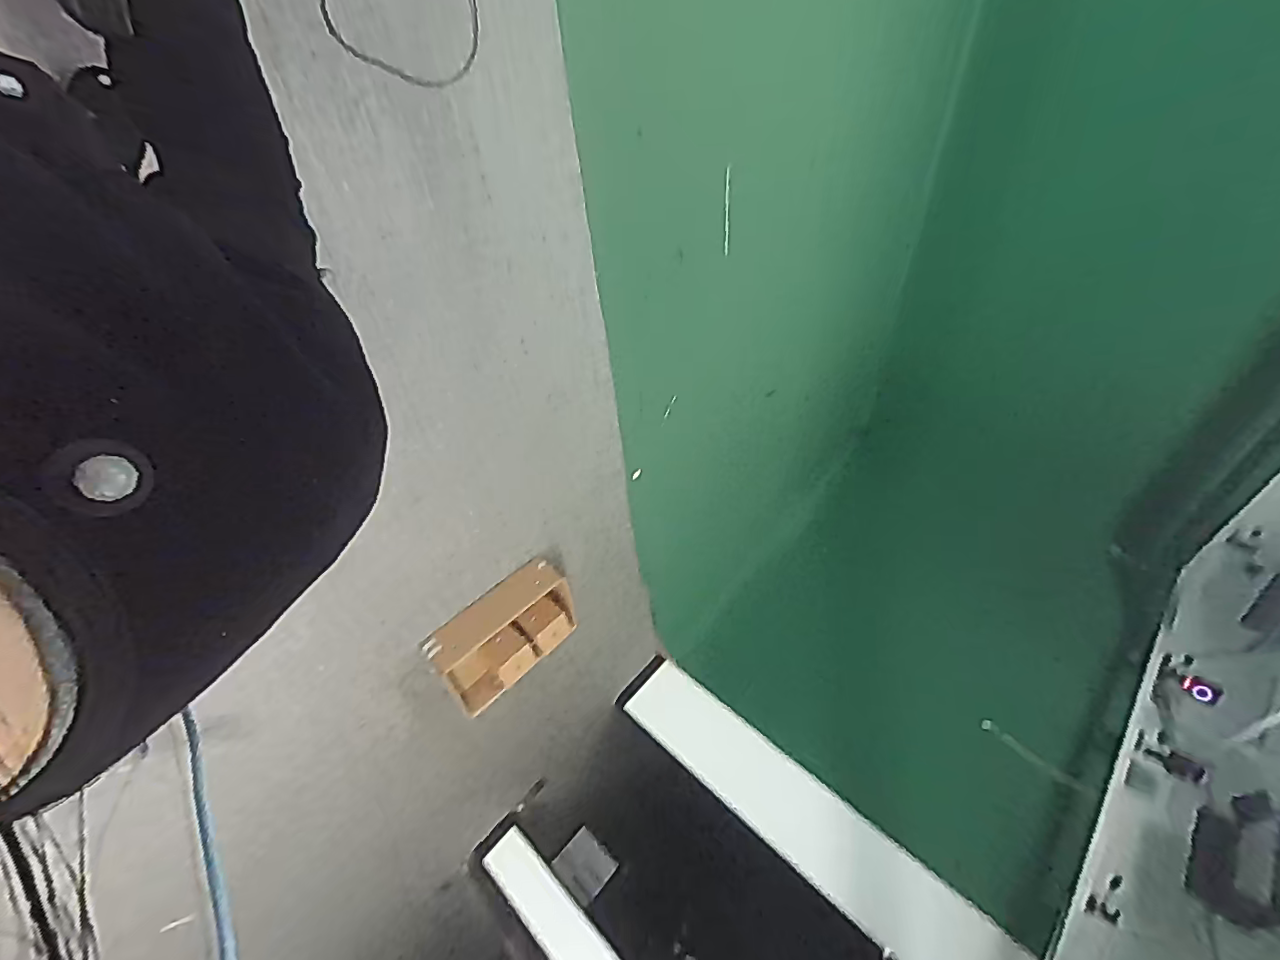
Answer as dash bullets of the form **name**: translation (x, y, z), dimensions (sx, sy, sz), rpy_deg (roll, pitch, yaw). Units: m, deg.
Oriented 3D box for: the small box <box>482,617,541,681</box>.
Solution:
- **small box**: translation (-0.566, 0.740, 2.381), dimensions (0.168, 0.176, 0.179), rpy_deg (-38, 141, -30)
